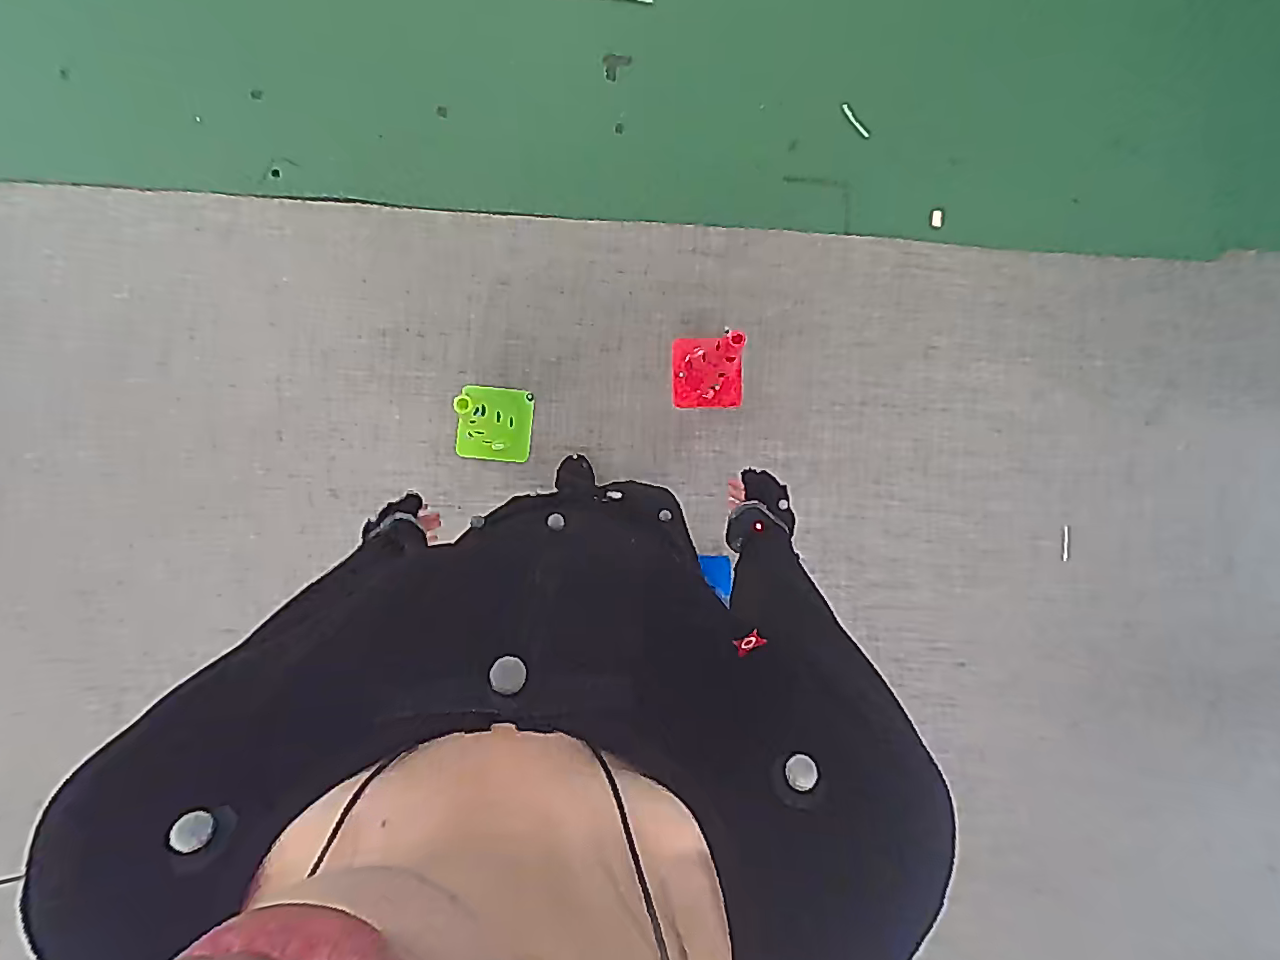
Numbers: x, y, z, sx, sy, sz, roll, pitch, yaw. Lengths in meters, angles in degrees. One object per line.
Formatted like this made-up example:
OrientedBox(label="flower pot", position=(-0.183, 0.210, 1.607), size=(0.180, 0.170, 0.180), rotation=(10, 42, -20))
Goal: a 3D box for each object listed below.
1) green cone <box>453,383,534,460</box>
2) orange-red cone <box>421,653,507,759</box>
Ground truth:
OrientedBox(label="green cone", position=(-0.388, -0.160, 1.315), size=(0.200, 0.368, 0.202), rotation=(4, 90, -3))
OrientedBox(label="orange-red cone", position=(-0.455, 0.569, 1.301), size=(0.198, 0.360, 0.199), rotation=(7, 87, -5))
